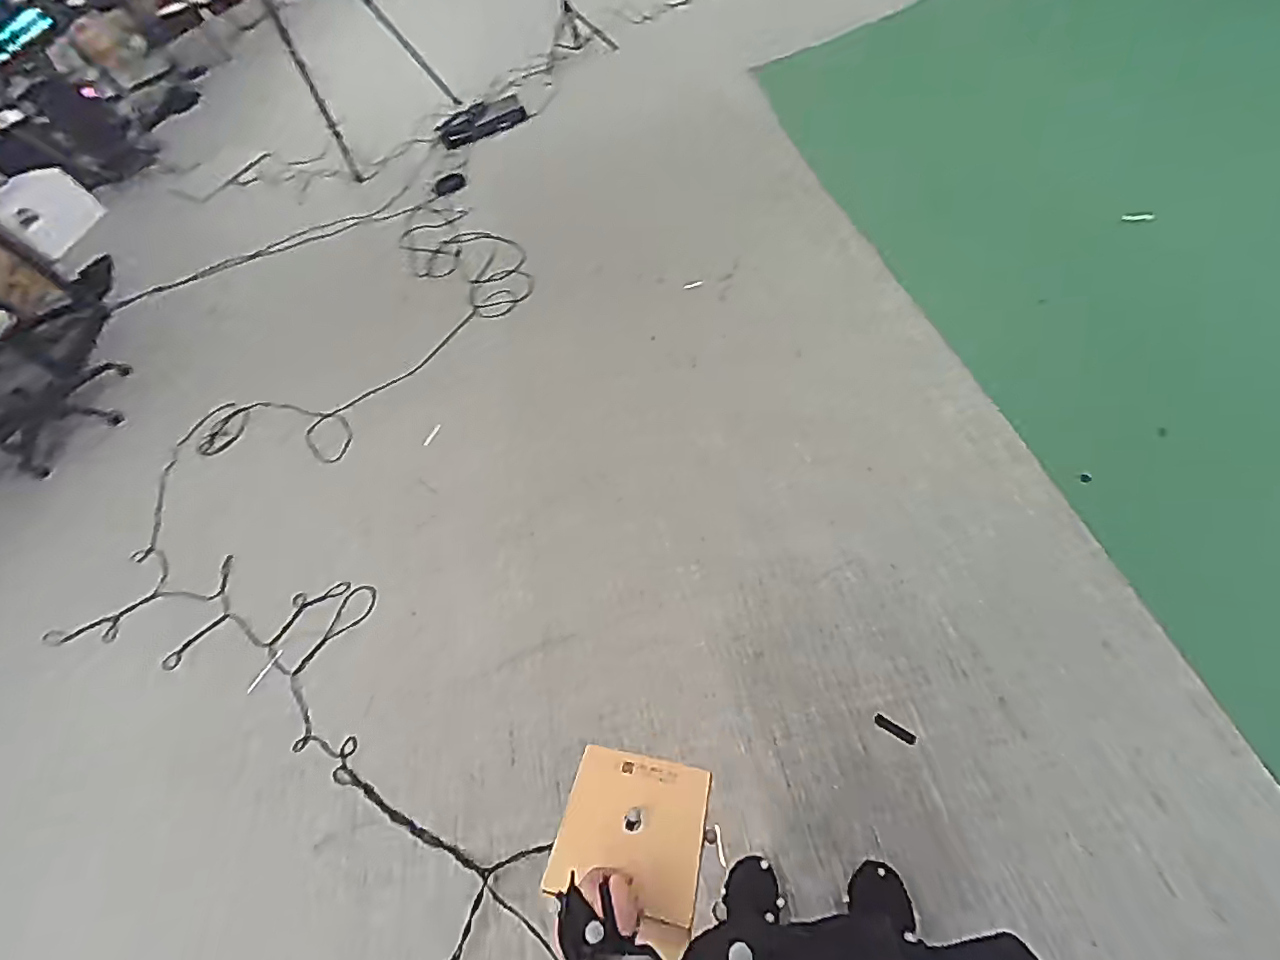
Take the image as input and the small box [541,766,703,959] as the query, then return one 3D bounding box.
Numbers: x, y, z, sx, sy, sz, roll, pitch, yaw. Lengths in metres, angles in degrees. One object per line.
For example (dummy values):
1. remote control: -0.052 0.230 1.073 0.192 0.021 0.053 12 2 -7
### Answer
1. small box: -0.013 0.487 0.669 0.168 0.179 0.176 5 31 9
